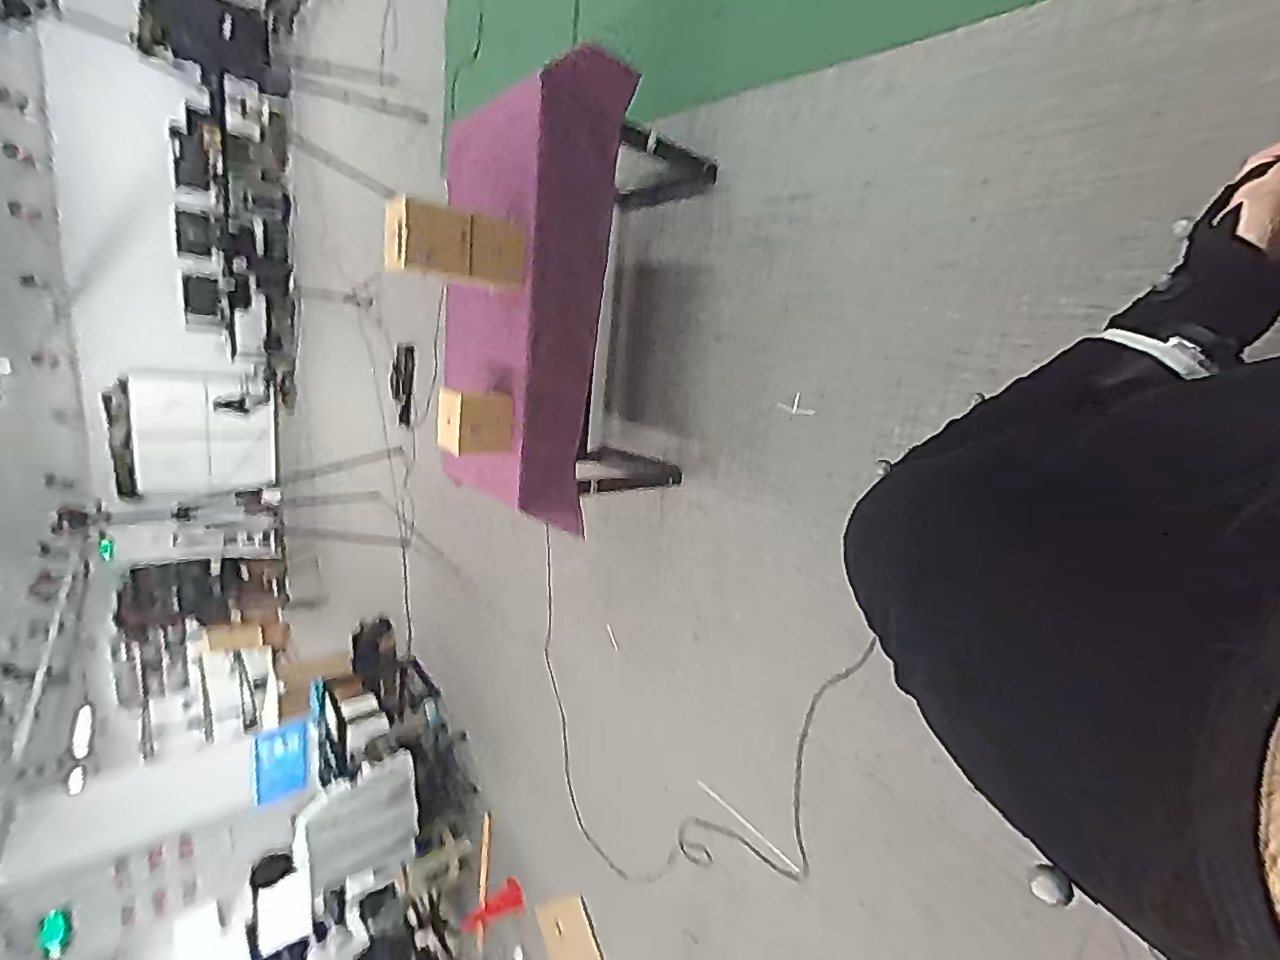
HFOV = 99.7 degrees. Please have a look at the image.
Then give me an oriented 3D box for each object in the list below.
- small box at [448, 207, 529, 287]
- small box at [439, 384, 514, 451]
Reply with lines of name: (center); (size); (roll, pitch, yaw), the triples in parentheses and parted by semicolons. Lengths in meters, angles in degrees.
small box: (-0.431, -0.660, 1.544); (0.168, 0.176, 0.179); (23, 111, 46)
small box: (-0.502, -0.193, 1.660); (0.168, 0.176, 0.179); (23, 110, 45)
